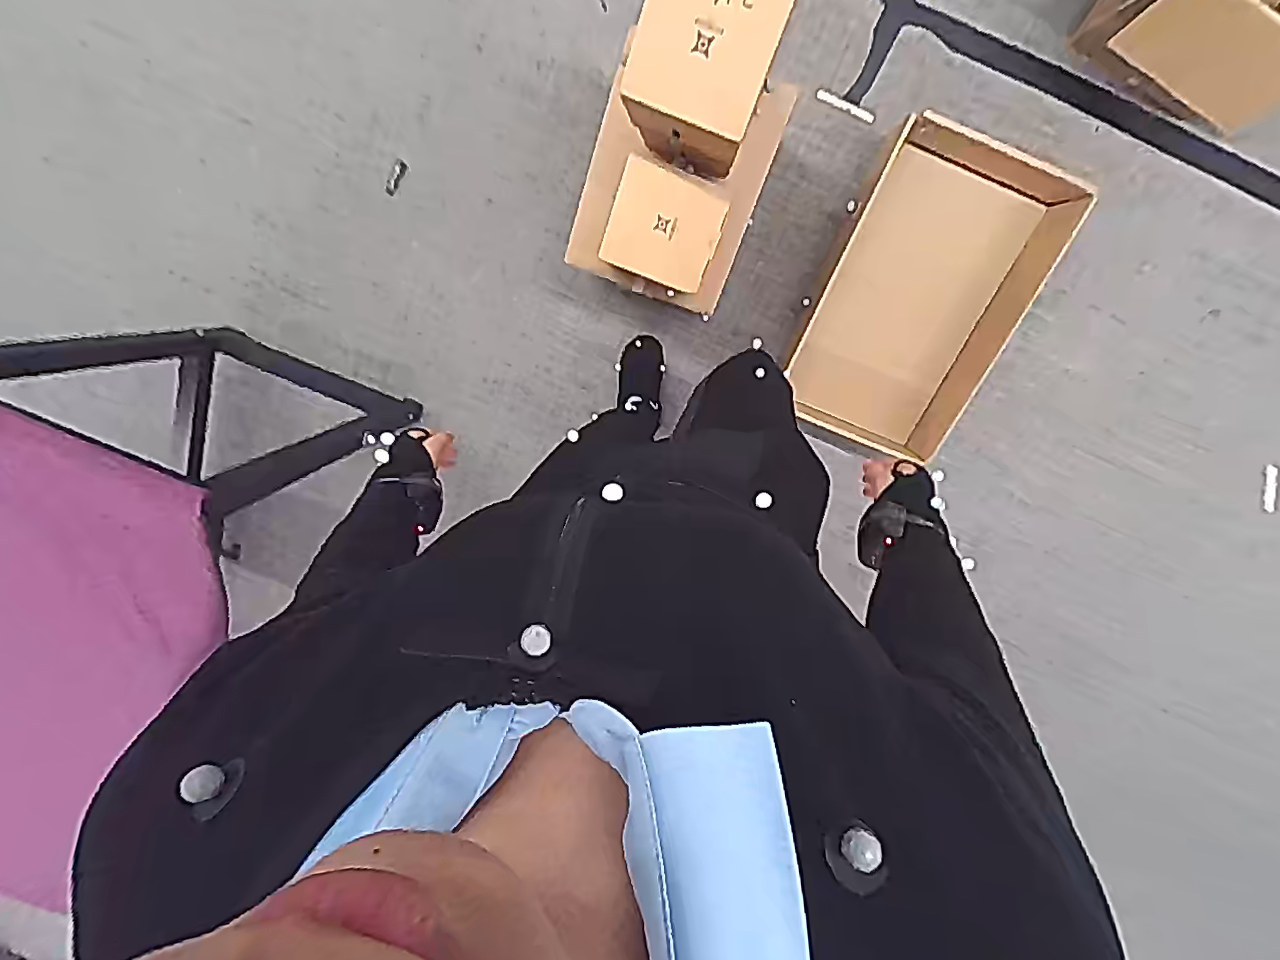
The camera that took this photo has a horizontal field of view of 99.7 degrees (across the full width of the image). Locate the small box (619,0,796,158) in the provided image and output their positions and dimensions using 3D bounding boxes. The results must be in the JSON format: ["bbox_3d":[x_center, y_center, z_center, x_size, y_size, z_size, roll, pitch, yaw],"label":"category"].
[{"bbox_3d":[0.087,-0.550,0.704,0.168,0.176,0.179,21,112,-3],"label":"small box"}]

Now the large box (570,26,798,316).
[{"bbox_3d":[0.080,-0.599,1.124,0.320,0.320,0.408,20,111,-2],"label":"large box"}]
